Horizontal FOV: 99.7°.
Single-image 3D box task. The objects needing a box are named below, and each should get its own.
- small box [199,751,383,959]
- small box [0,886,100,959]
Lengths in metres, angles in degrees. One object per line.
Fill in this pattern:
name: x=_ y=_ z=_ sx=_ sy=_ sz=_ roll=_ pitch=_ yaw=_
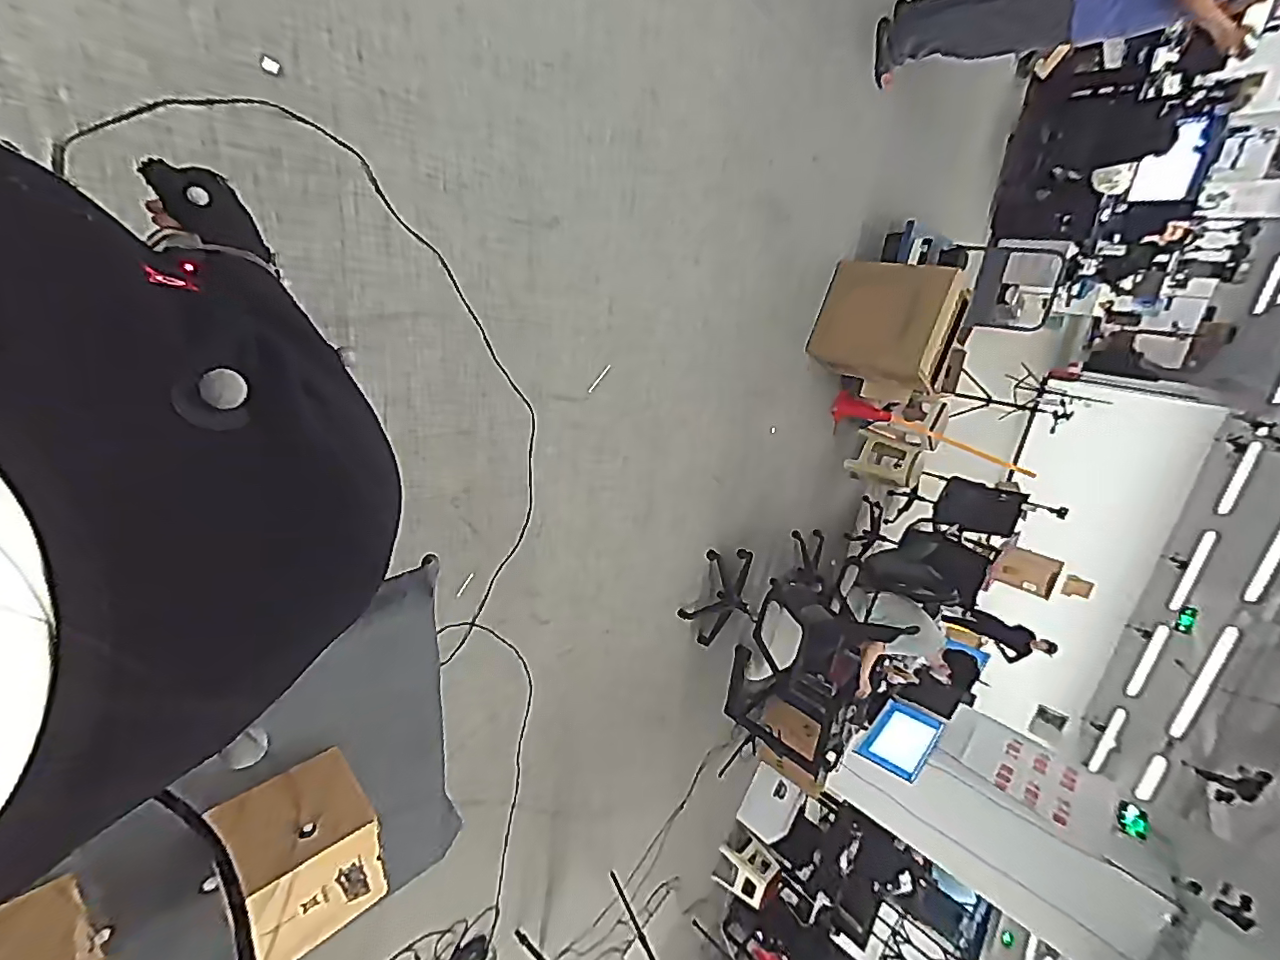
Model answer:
small box: x=-0.502 y=0.541 z=0.786 sx=0.179 sy=0.176 sz=0.168 roll=-17 pitch=120 yaw=-43
small box: x=-0.704 y=0.592 z=0.580 sx=0.168 sy=0.176 sz=0.179 roll=-15 pitch=119 yaw=-45
